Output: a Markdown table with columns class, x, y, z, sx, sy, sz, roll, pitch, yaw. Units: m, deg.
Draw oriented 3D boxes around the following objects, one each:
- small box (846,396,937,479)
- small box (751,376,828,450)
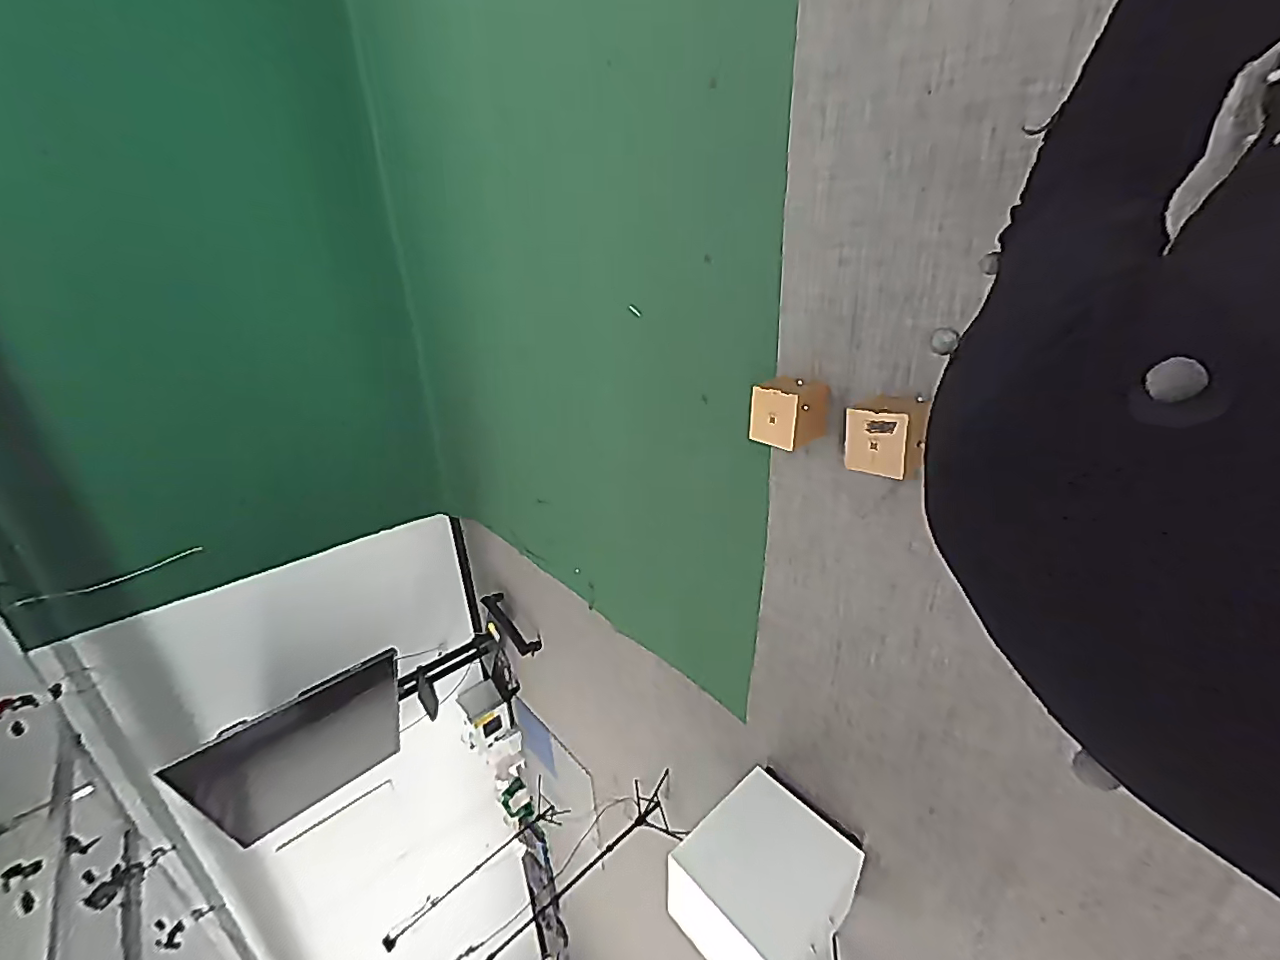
| class | x | y | z | sx | sy | sz | roll | pitch | yaw |
| --- | --- | --- | --- | --- | --- | --- | --- | --- | --- |
| small box | 0.681 | -0.123 | 1.461 | 0.168 | 0.176 | 0.179 | 18 | 120 | 47 |
| small box | 0.468 | -0.213 | 1.687 | 0.168 | 0.176 | 0.179 | 23 | 123 | 43 |
